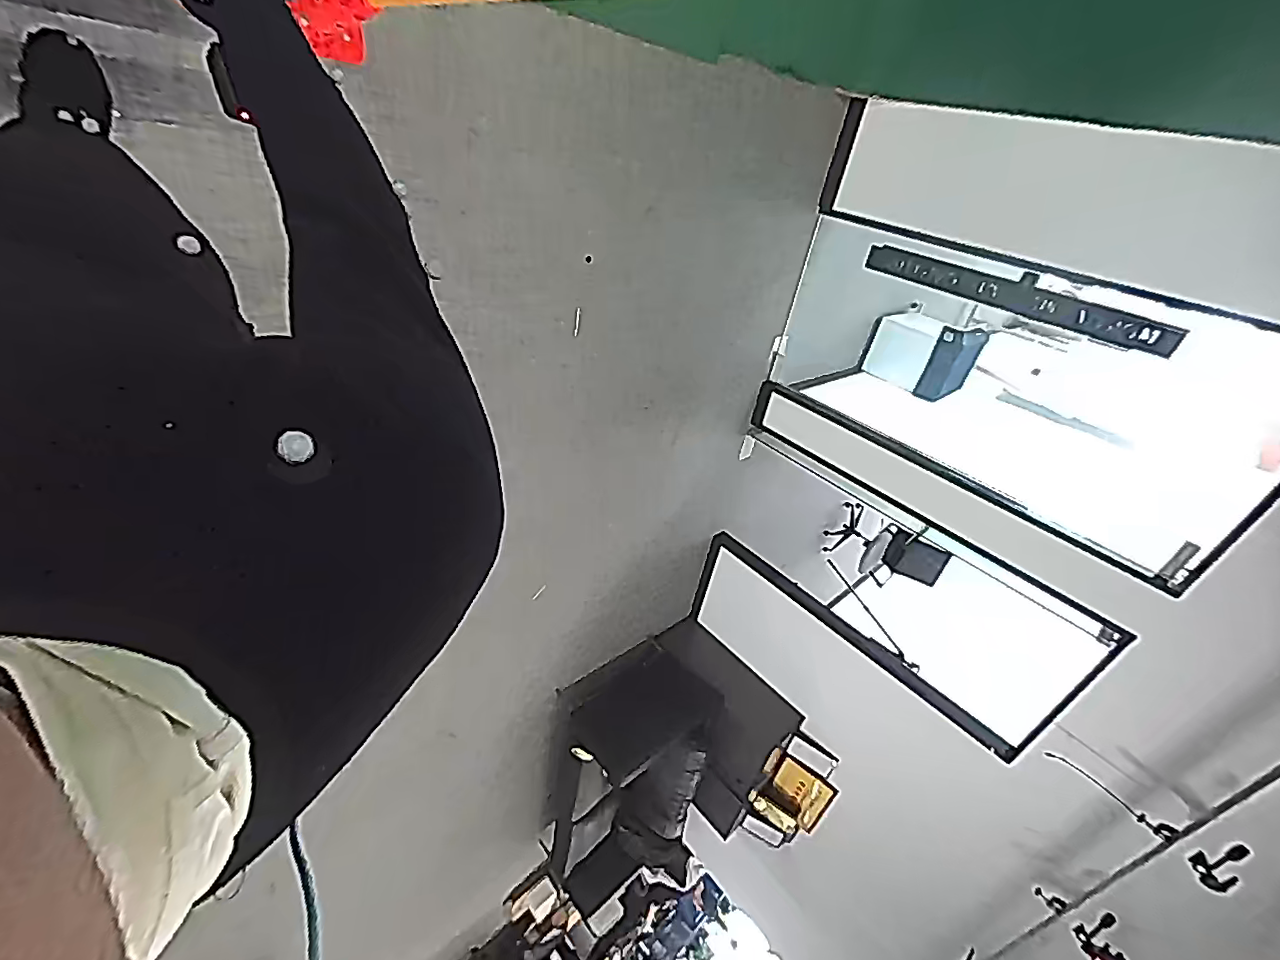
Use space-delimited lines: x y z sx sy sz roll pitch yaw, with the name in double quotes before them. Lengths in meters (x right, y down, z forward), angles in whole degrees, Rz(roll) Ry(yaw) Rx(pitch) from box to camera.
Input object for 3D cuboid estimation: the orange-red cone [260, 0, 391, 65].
"orange-red cone" -0.563 -0.917 1.023 0.198 0.360 0.199 -20 133 -40
